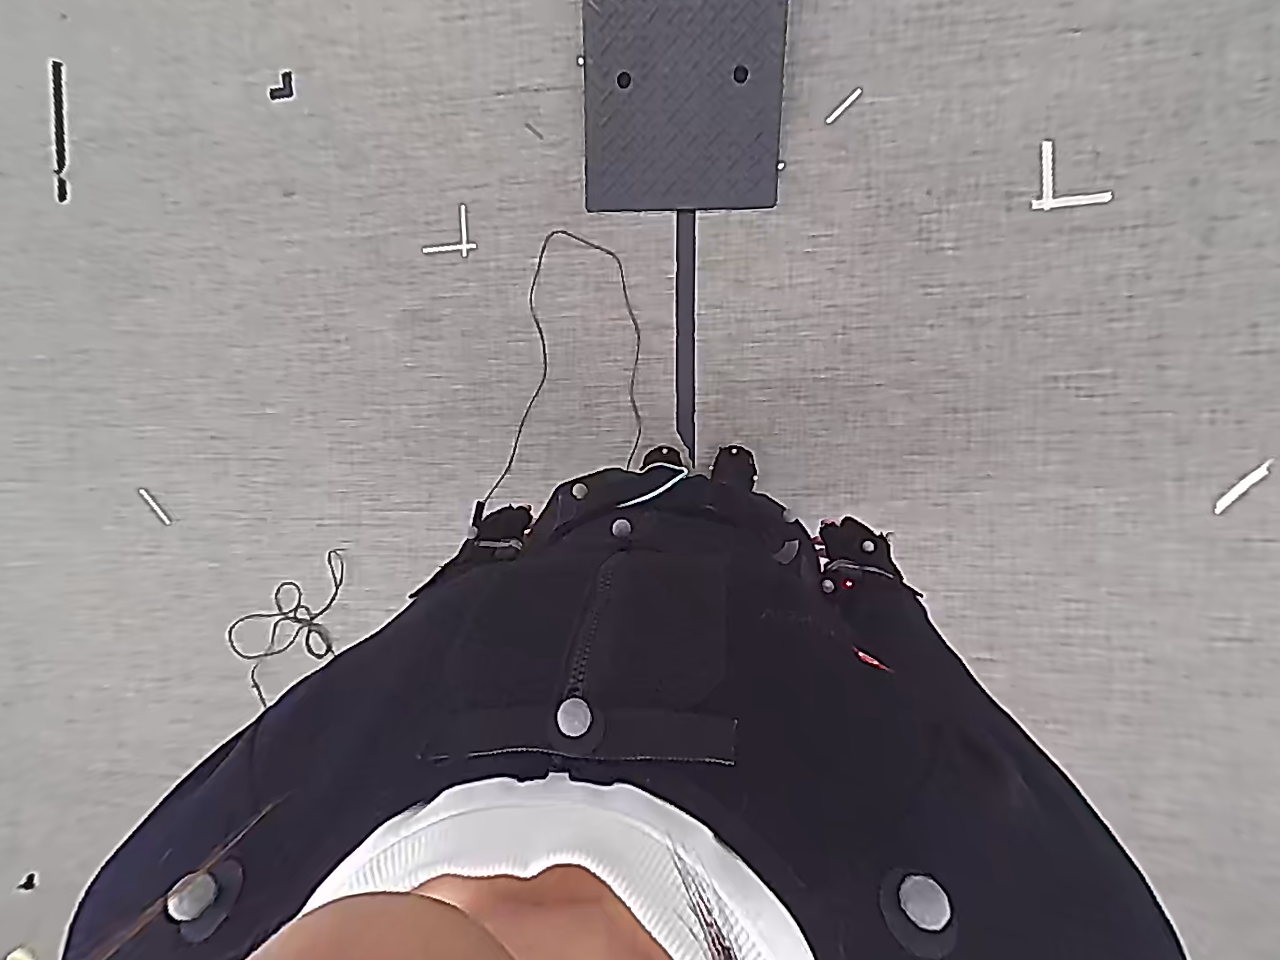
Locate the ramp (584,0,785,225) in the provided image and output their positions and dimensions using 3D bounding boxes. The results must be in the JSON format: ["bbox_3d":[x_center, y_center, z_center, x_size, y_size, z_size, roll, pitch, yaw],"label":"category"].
[{"bbox_3d":[0.105,-1.169,1.313,0.509,0.206,0.991,-1,93,7],"label":"ramp"}]
